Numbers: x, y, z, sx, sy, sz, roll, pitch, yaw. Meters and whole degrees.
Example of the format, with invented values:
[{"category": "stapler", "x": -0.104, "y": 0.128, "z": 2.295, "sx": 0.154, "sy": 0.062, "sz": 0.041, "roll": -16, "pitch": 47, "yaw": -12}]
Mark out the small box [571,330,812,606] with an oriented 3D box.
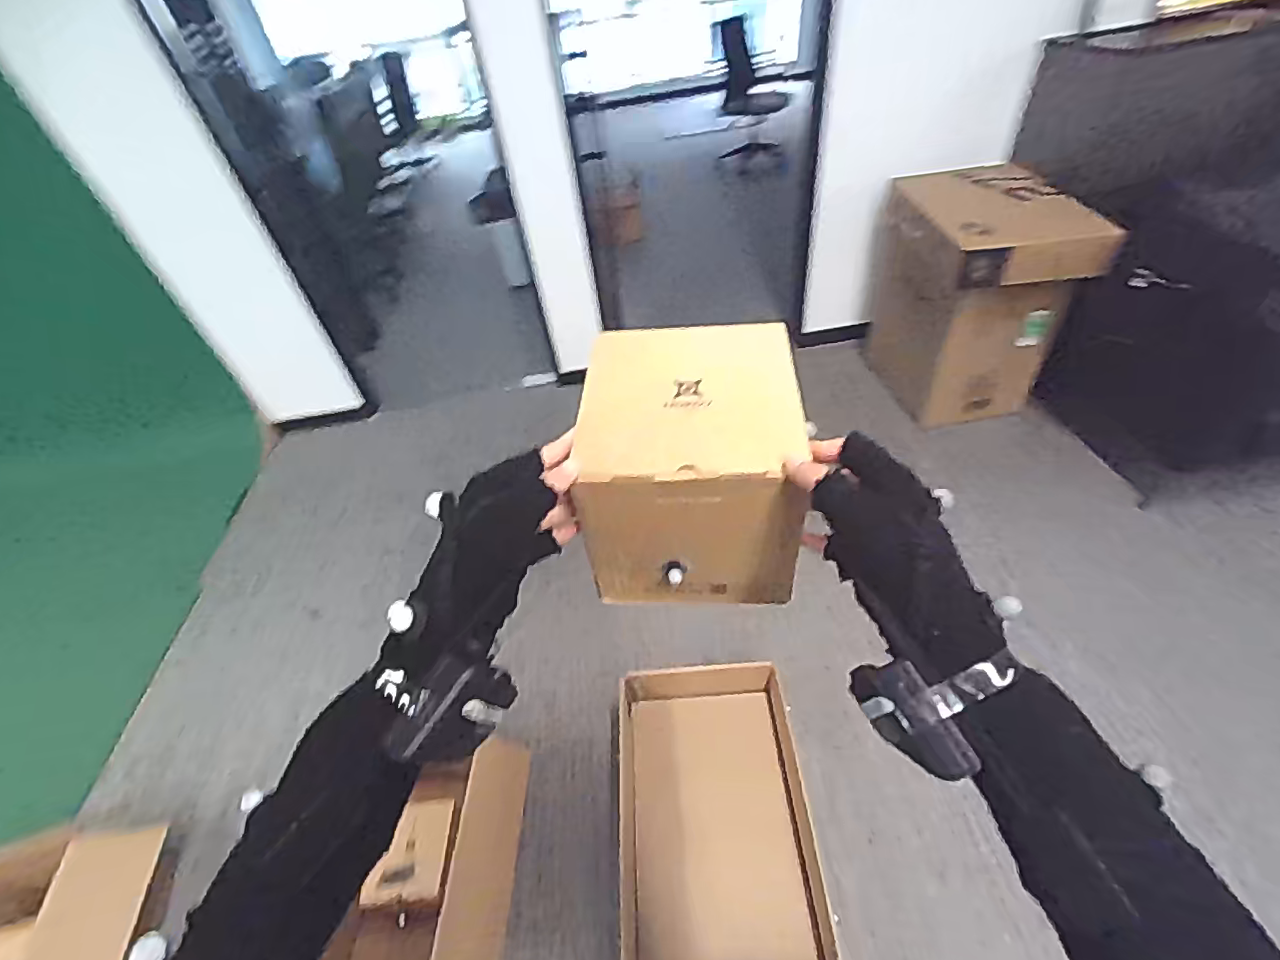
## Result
[{"category": "small box", "x": 0.047, "y": -0.010, "z": 0.476, "sx": 0.168, "sy": 0.176, "sz": 0.179, "roll": -1, "pitch": 48, "yaw": 7}]
